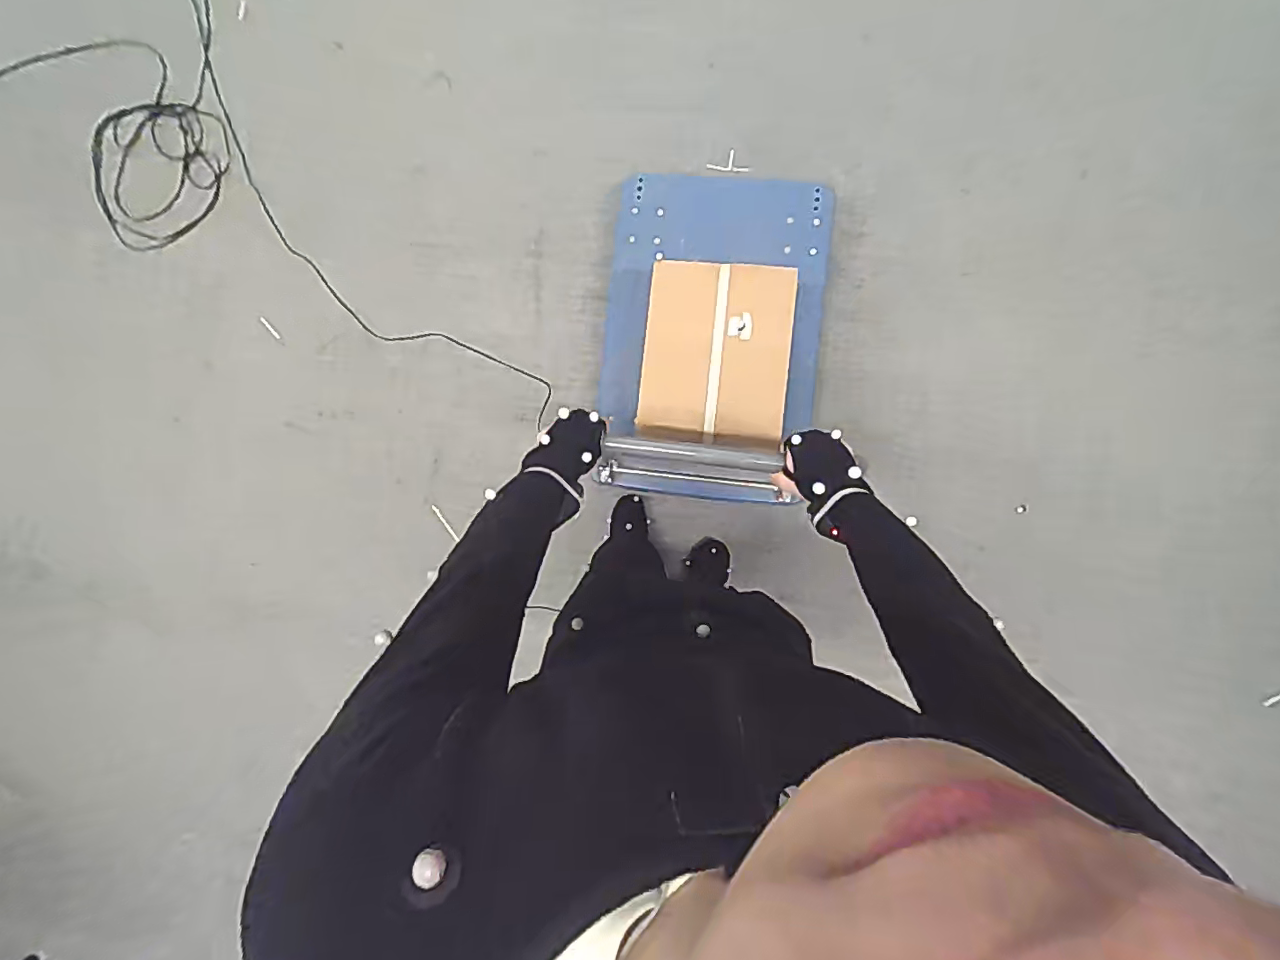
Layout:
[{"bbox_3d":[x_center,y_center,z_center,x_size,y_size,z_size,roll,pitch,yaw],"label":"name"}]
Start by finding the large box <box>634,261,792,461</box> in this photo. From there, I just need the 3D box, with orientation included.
[{"bbox_3d":[0.174,-0.266,1.320,0.320,0.320,0.408,6,88,6],"label":"large box"}]
